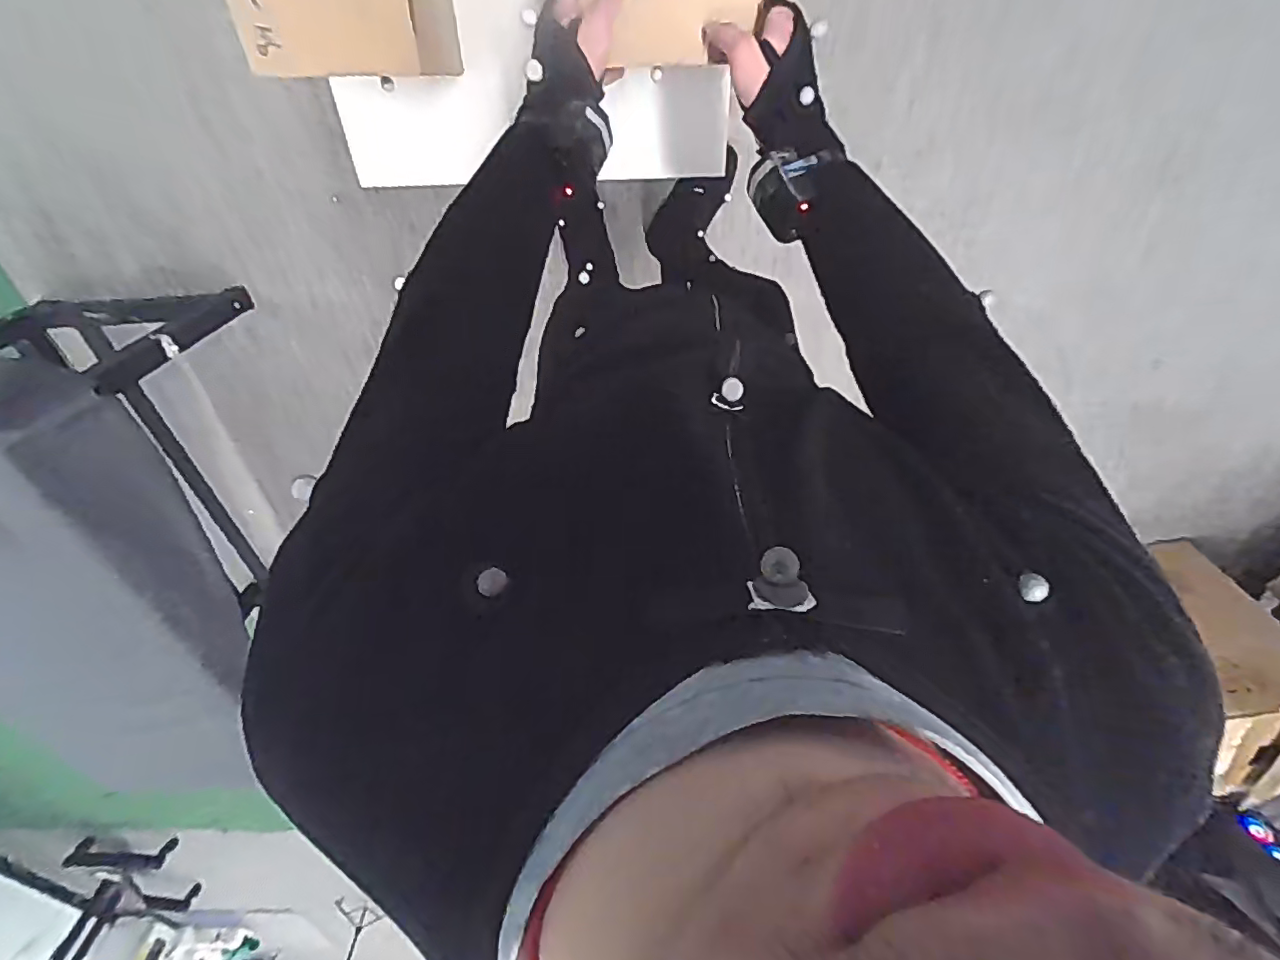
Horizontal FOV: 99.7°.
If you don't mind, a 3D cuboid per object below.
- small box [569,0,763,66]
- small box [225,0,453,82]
[{"bbox_3d":[0.023,-0.506,0.524,0.179,0.176,0.168,-2,129,1],"label":"small box"},{"bbox_3d":[-0.306,-0.517,0.557,0.179,0.176,0.168,-1,128,-1],"label":"small box"}]
